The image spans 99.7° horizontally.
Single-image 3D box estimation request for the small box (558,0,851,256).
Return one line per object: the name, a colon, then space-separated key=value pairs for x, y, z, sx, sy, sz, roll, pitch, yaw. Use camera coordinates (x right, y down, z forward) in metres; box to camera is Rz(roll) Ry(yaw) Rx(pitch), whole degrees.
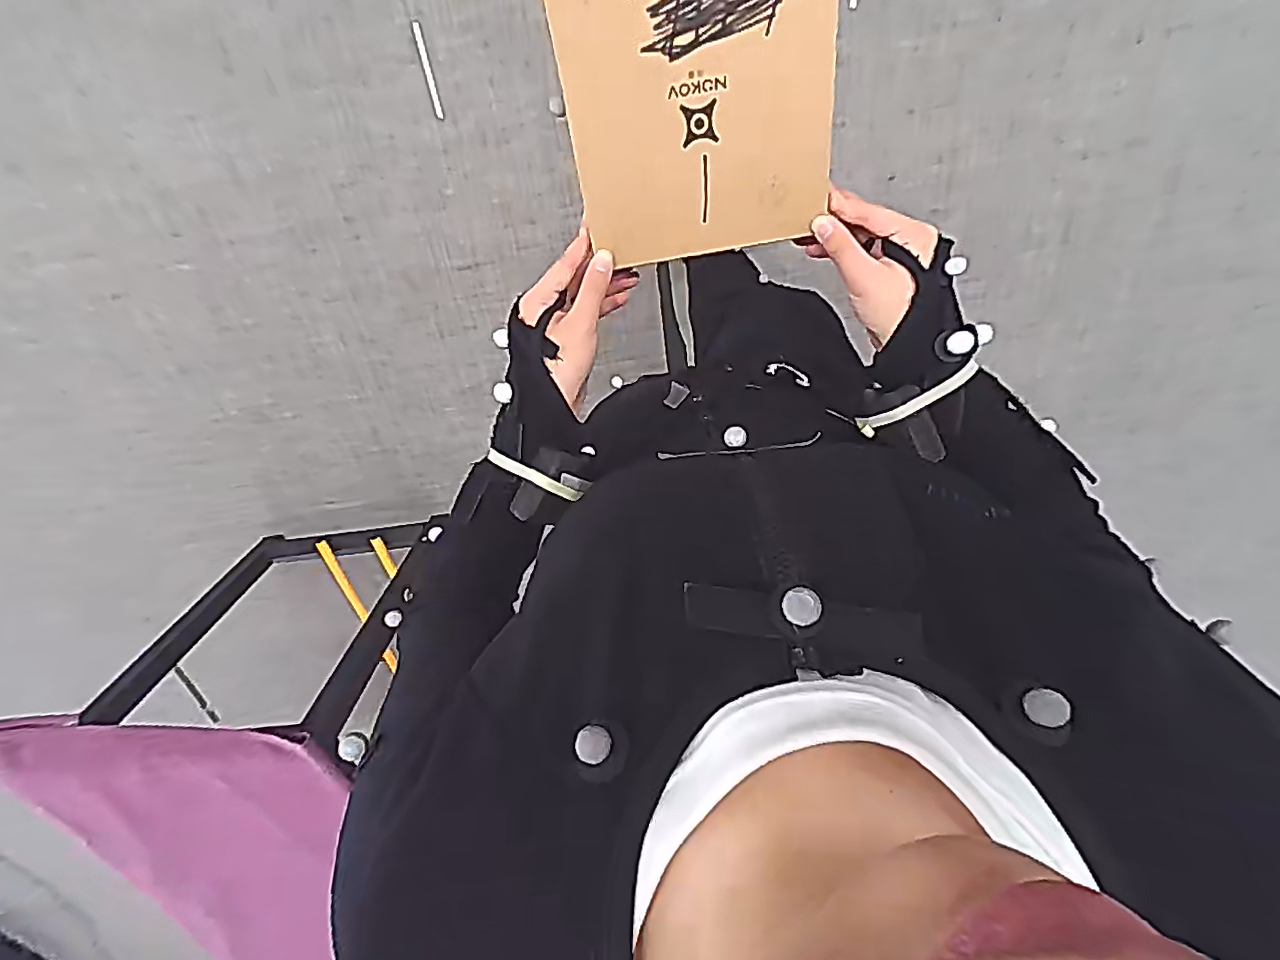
small box: x=0.036 y=-0.281 z=0.386 sx=0.168 sy=0.176 sz=0.179 roll=-9 pitch=126 yaw=3
